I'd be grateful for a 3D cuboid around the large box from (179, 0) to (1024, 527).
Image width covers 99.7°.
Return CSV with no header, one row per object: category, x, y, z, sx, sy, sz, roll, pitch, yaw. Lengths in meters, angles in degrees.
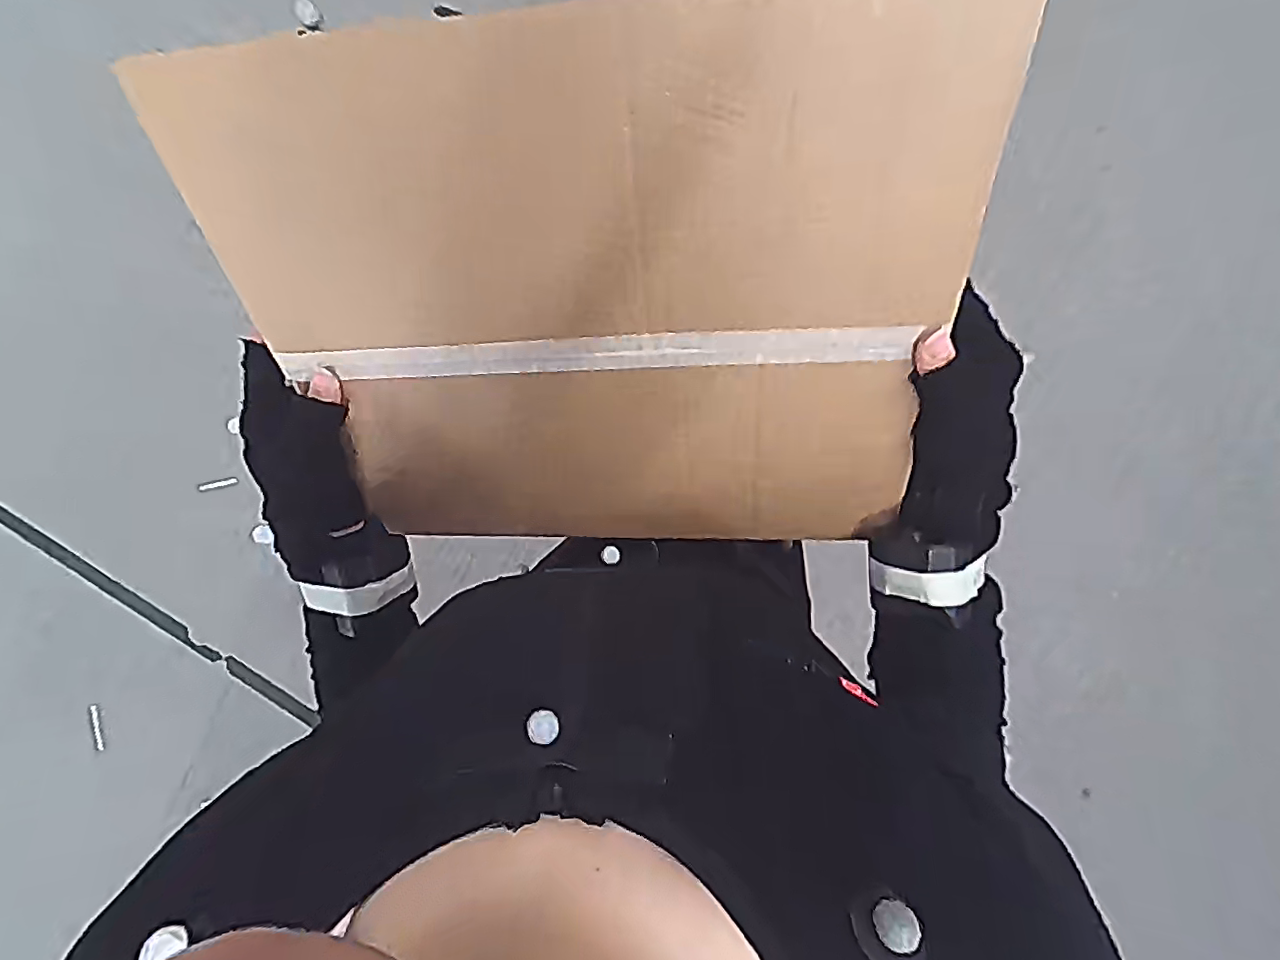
large box,-0.013,-0.176,0.452,0.408,0.320,0.320,0,131,7
